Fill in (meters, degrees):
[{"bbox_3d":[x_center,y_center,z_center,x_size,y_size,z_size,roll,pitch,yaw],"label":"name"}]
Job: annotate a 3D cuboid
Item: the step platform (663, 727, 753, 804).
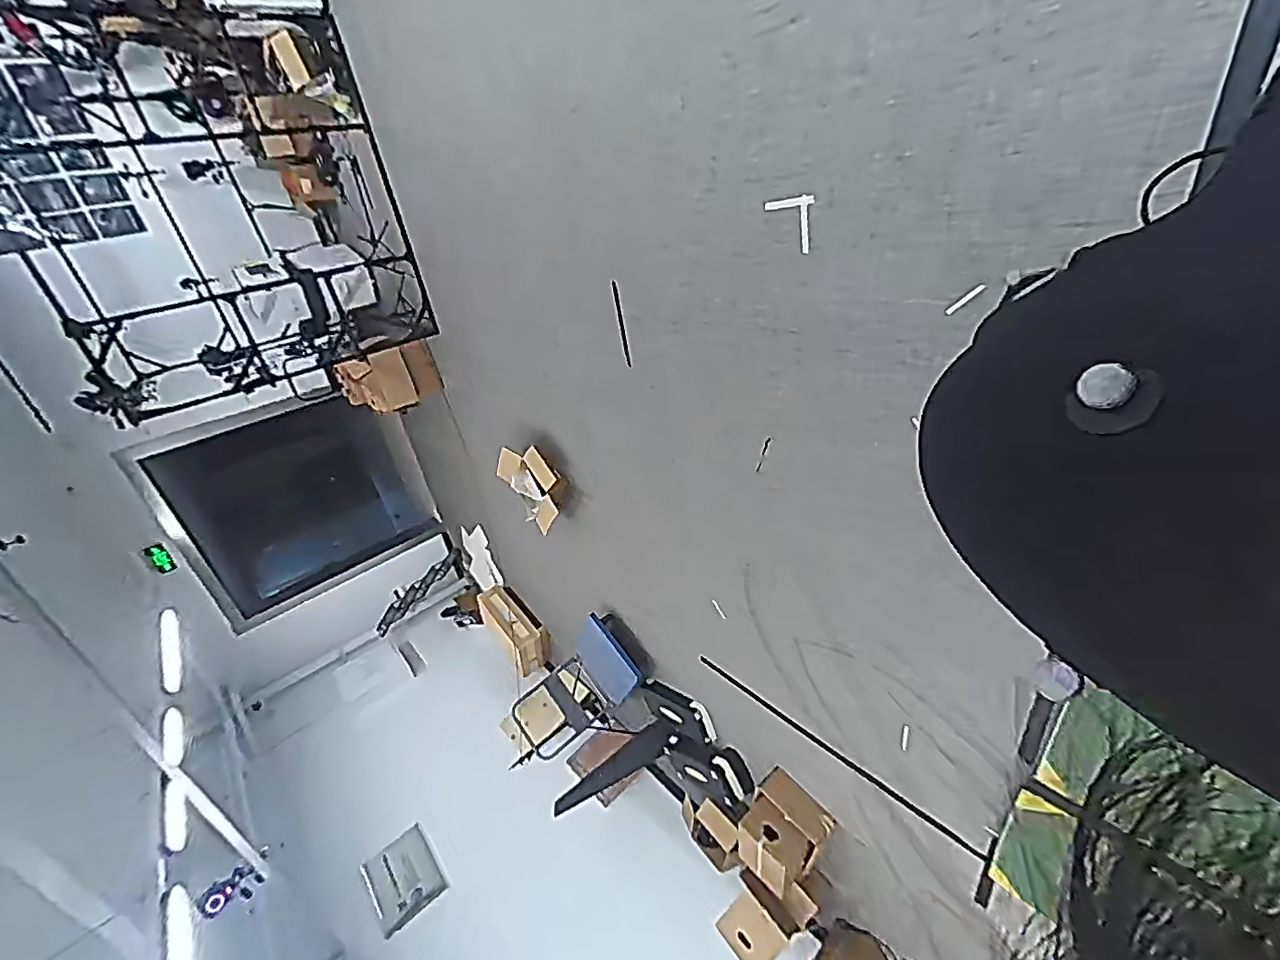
[{"bbox_3d":[0.436,1.922,3.658,0.684,0.204,0.286,-19,98,58],"label":"step platform"}]
